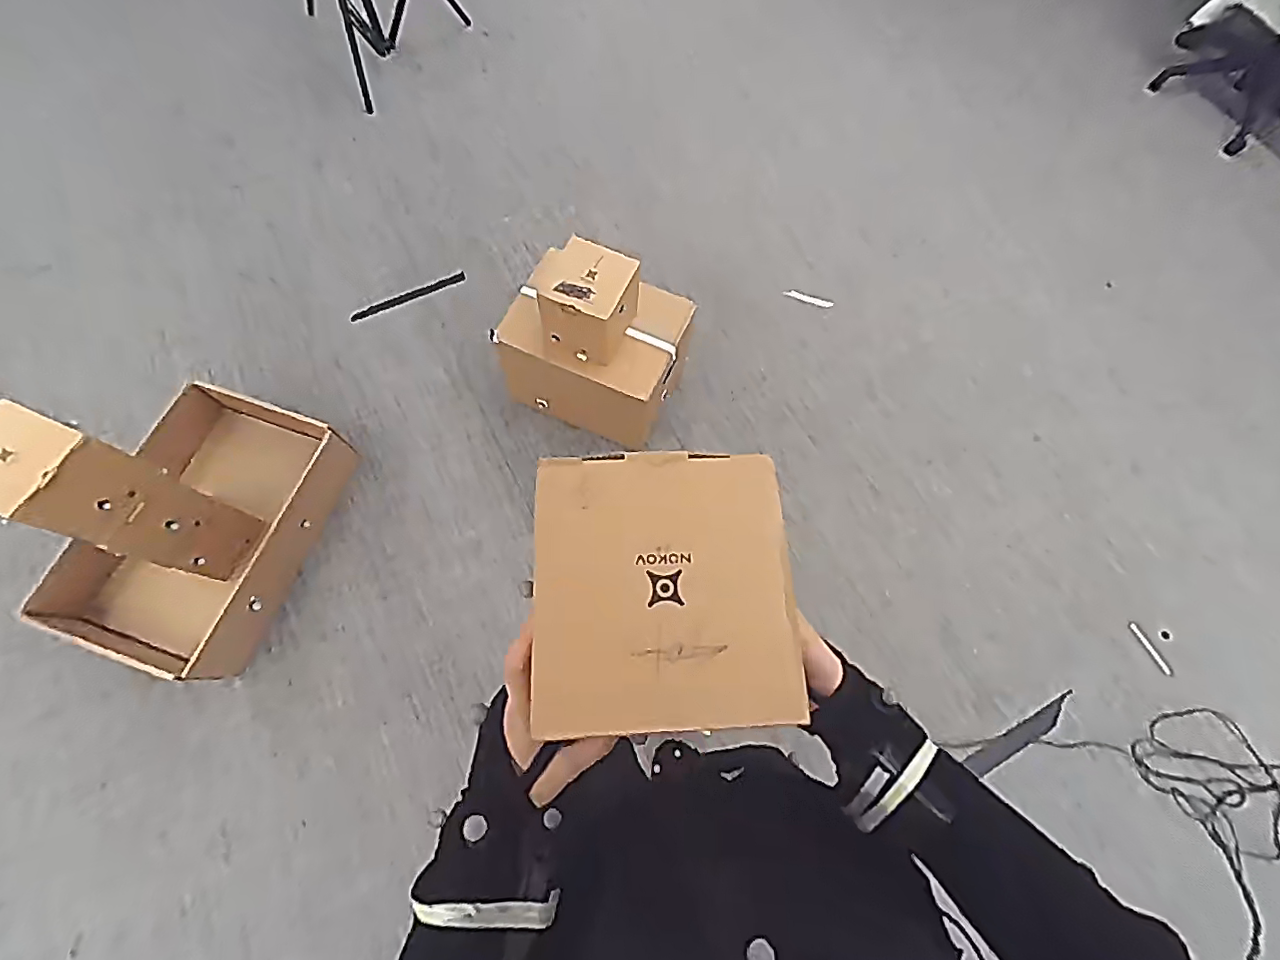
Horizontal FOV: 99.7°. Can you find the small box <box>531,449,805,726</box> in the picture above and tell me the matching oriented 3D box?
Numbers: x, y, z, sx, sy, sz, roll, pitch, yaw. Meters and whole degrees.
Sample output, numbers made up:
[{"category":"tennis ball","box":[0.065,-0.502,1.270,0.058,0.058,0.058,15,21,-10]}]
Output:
[{"category":"small box","box":[0.009,0.088,0.420,0.168,0.176,0.179,-1,70,-4]}]

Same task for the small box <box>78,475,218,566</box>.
[{"category":"small box","box":[-1.035,0.064,1.111,0.179,0.176,0.168,22,69,5]}]

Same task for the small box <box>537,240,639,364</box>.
[{"category":"small box","box":[-0.111,-0.393,1.221,0.168,0.176,0.179,24,70,5]}]

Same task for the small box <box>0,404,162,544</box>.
[{"category":"small box","box":[-1.033,-0.003,0.962,0.179,0.176,0.168,21,69,6]}]
